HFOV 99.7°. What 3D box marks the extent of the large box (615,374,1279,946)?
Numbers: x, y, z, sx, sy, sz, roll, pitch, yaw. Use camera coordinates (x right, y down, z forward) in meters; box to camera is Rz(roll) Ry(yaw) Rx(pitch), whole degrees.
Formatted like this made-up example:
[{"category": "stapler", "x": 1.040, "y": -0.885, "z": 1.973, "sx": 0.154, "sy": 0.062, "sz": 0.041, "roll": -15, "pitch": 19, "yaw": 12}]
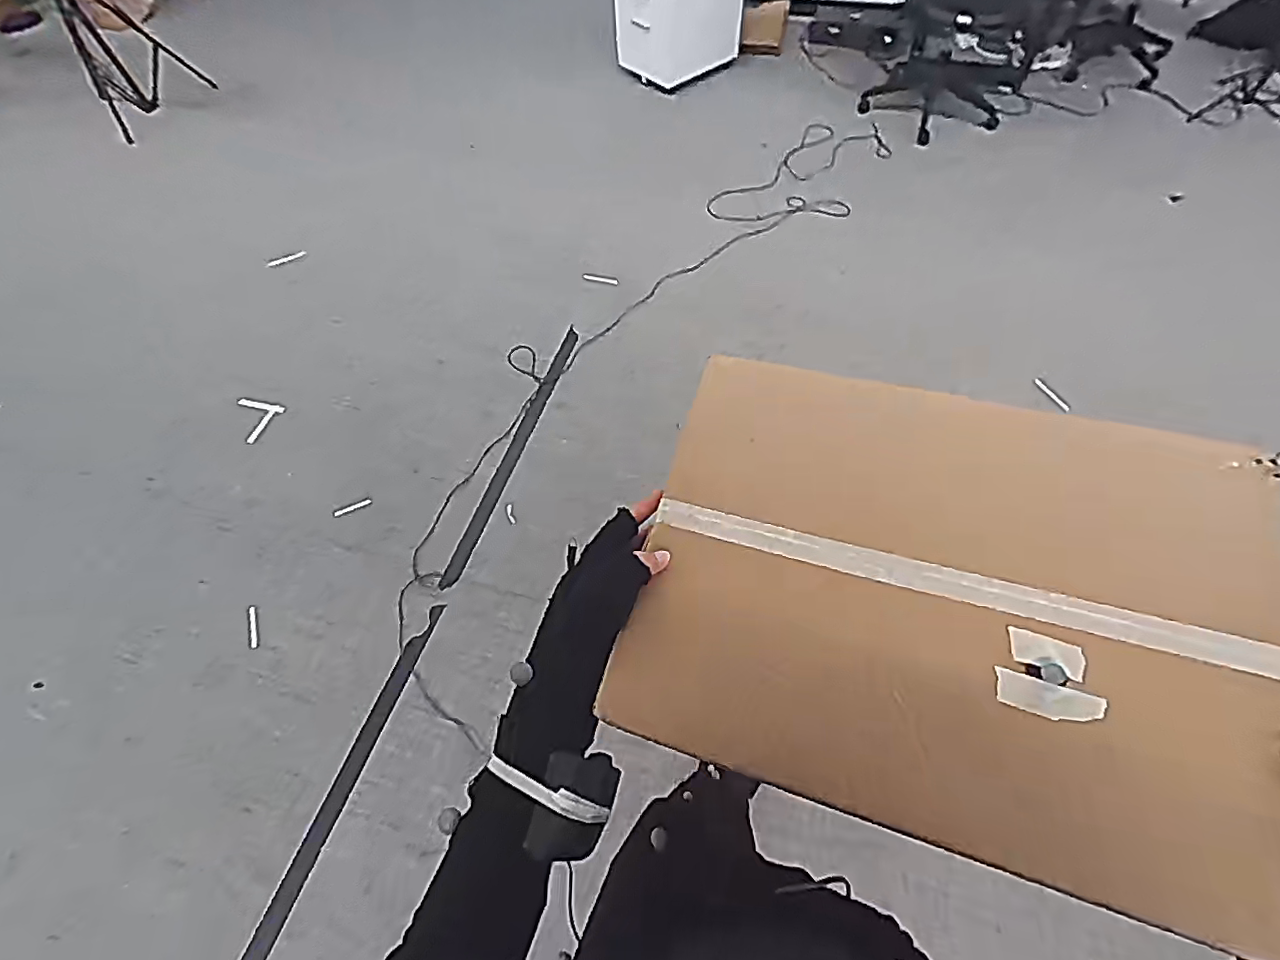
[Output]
[{"category": "large box", "x": 0.230, "y": 0.139, "z": 0.525, "sx": 0.408, "sy": 0.320, "sz": 0.320, "roll": 14, "pitch": 68, "yaw": 15}]
